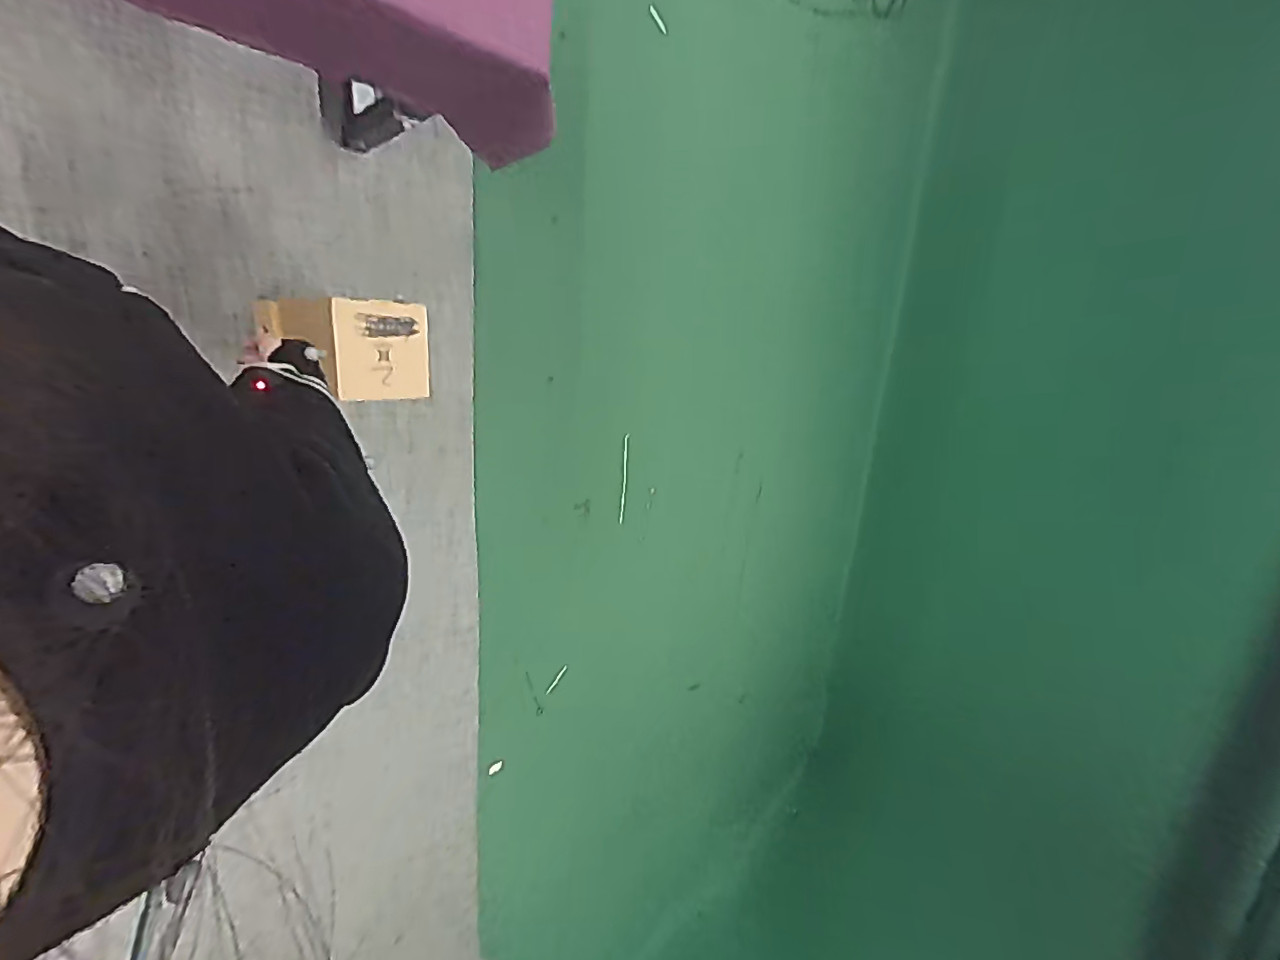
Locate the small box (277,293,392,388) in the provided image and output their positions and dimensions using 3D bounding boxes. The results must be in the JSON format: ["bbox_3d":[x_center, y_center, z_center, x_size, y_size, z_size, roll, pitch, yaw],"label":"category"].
[{"bbox_3d":[-0.639,-0.292,1.134,0.168,0.176,0.179,-11,110,-46],"label":"small box"}]

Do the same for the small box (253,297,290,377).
[{"bbox_3d":[-0.762,-0.326,1.236,0.179,0.176,0.168,-14,113,-44],"label":"small box"}]
